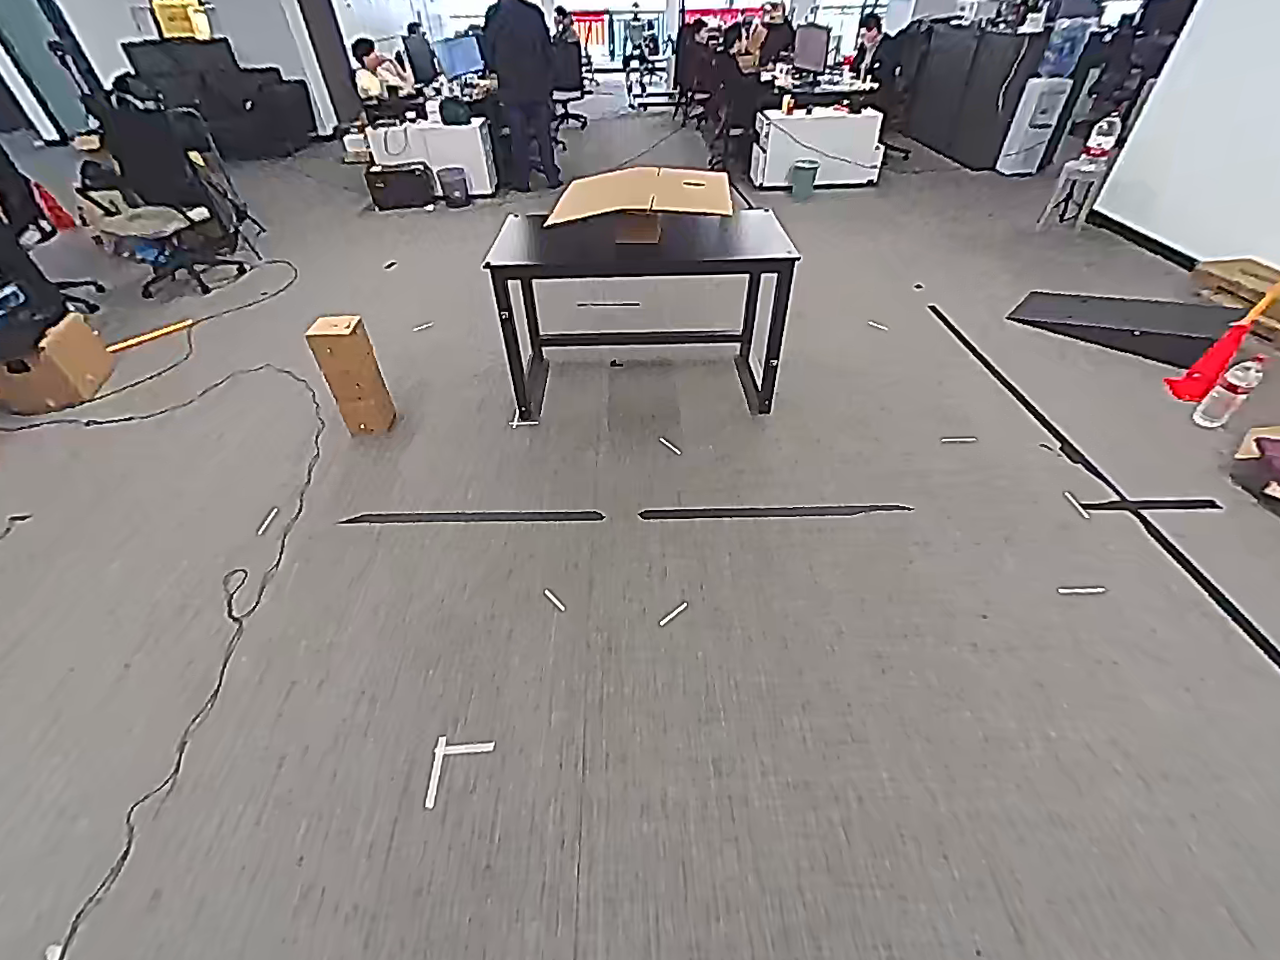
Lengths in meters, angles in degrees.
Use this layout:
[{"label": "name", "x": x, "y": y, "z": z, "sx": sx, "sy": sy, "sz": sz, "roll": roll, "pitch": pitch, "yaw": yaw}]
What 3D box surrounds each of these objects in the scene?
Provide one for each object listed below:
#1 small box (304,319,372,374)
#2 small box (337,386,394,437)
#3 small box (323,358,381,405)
[{"label": "small box", "x": -1.267, "y": -0.561, "z": 2.284, "sx": 0.179, "sy": 0.176, "sz": 0.168, "roll": -4, "pitch": 42, "yaw": -3}, {"label": "small box", "x": -1.262, "y": -0.318, "z": 2.500, "sx": 0.168, "sy": 0.176, "sz": 0.179, "roll": -4, "pitch": 43, "yaw": -3}, {"label": "small box", "x": -1.269, "y": -0.441, "z": 2.395, "sx": 0.168, "sy": 0.176, "sz": 0.179, "roll": -5, "pitch": 41, "yaw": -7}]
